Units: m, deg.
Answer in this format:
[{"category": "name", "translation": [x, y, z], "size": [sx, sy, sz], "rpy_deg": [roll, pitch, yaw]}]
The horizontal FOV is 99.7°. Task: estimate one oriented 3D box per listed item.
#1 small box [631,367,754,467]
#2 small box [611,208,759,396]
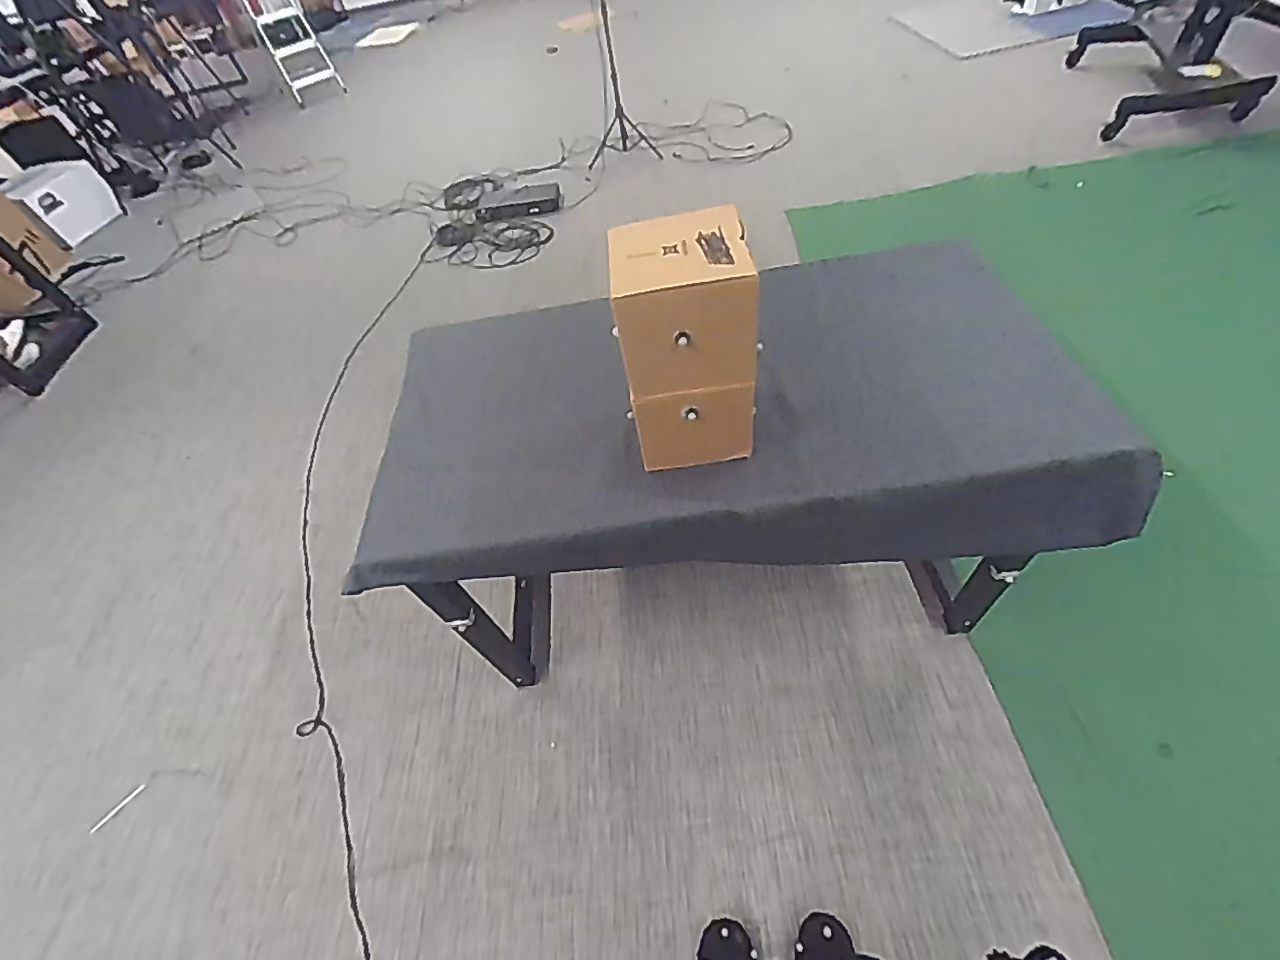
[{"category": "small box", "translation": [0.081, -0.137, 0.868], "size": [0.179, 0.176, 0.168], "rpy_deg": [-7, 53, 3]}, {"category": "small box", "translation": [0.060, -0.236, 0.739], "size": [0.179, 0.176, 0.168], "rpy_deg": [-8, 53, 6]}]
